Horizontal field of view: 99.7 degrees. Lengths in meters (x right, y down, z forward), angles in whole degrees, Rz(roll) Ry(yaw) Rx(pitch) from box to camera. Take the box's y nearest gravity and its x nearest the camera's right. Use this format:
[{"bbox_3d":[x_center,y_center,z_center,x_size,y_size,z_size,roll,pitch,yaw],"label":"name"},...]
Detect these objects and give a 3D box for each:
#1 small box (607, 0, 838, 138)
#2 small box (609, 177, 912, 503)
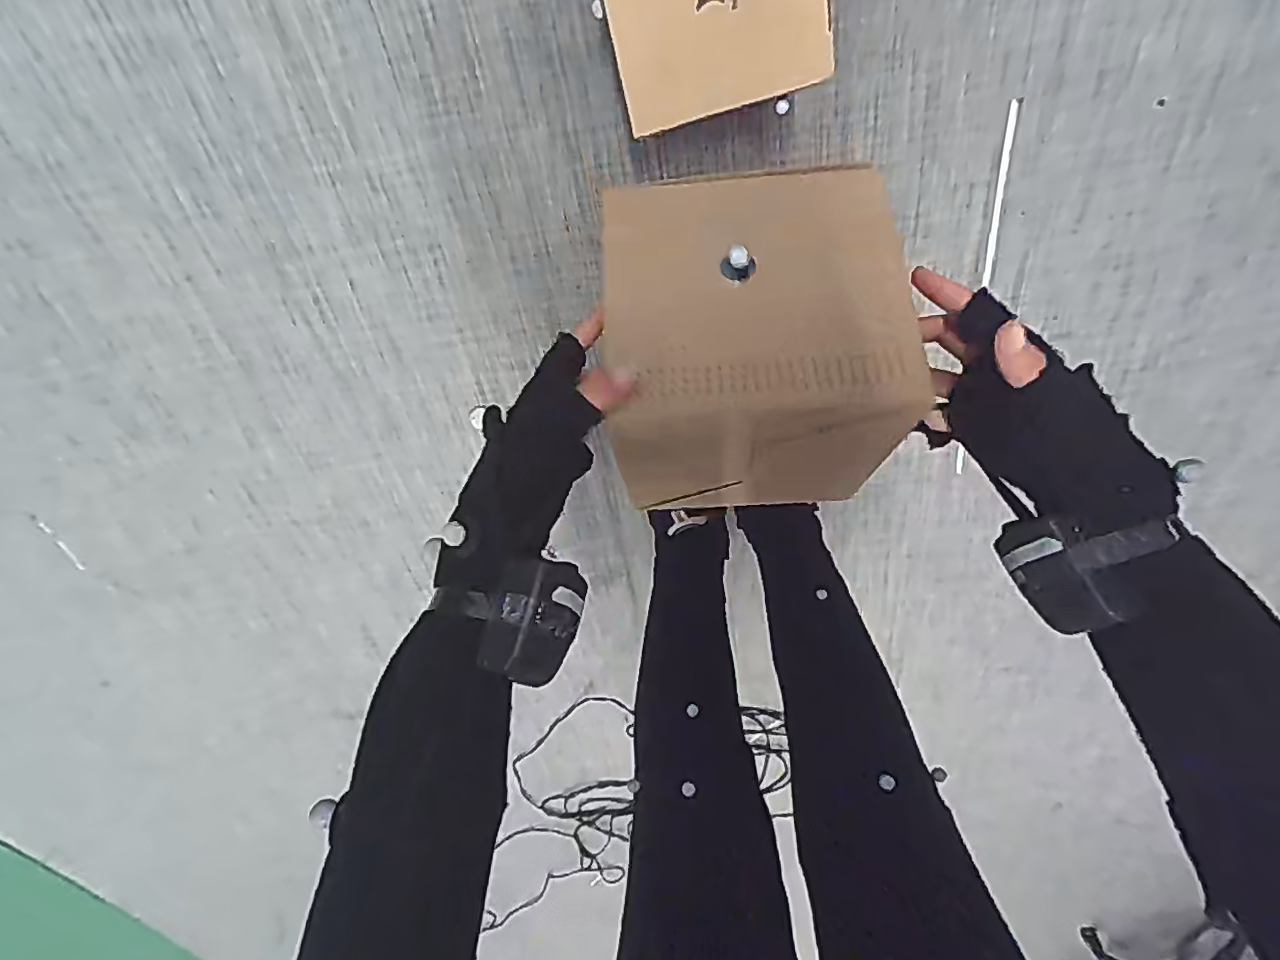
[{"bbox_3d":[0.065,-0.426,0.491,0.179,0.176,0.168,-12,121,9],"label":"small box"},{"bbox_3d":[0.074,-0.082,0.388,0.179,0.176,0.168,-1,162,3],"label":"small box"}]
